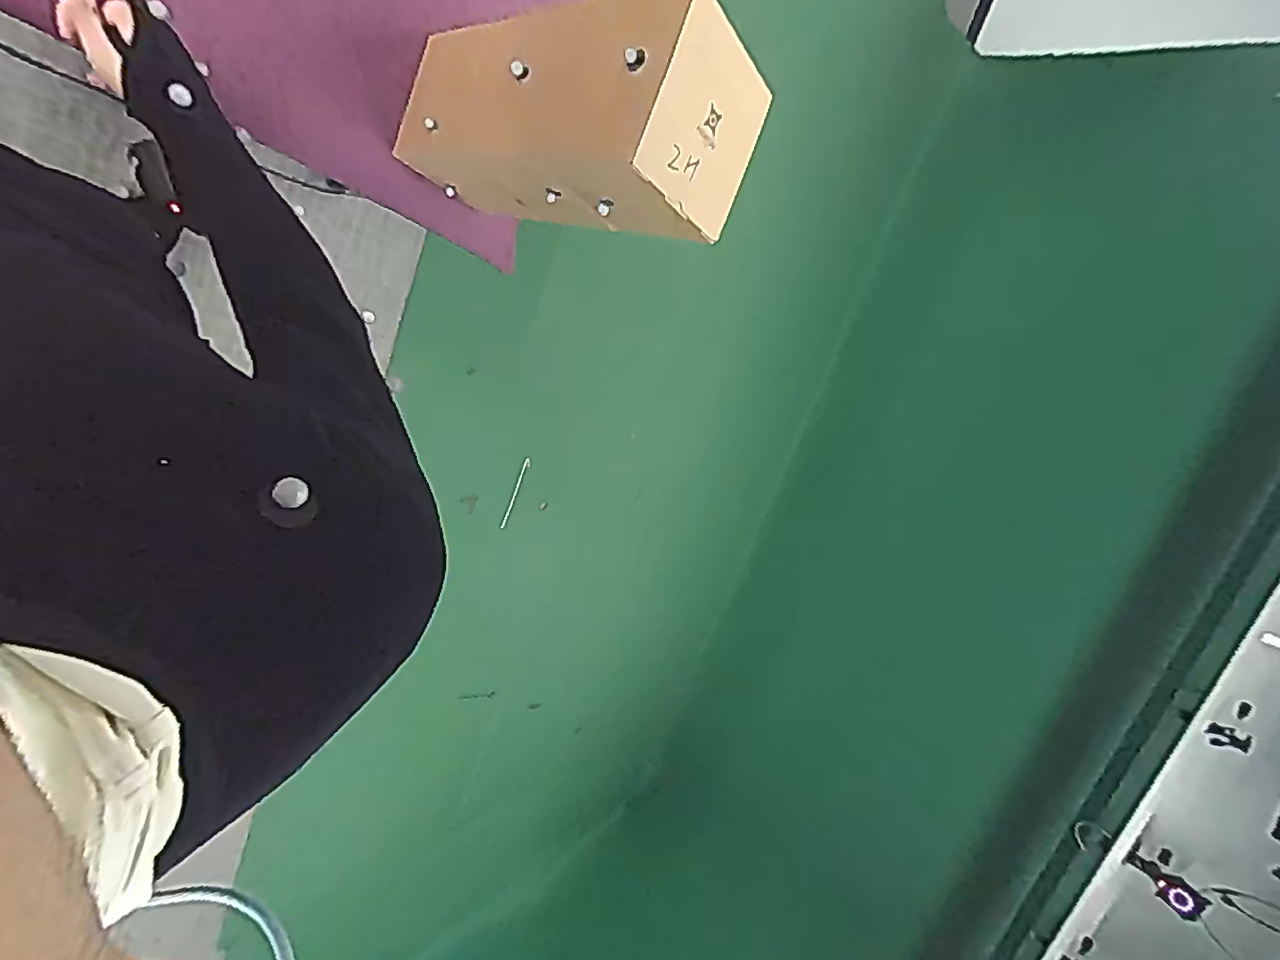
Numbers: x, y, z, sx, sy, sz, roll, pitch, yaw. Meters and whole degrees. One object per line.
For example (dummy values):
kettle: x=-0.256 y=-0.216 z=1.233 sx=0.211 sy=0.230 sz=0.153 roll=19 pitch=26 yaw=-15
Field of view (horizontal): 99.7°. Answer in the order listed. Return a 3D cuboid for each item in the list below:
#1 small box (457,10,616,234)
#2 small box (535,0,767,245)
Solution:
small box: x=-0.111 y=-0.452 z=0.708 sx=0.168 sy=0.176 sz=0.179 roll=13 pitch=101 yaw=-52
small box: x=0.009 y=-0.395 z=0.610 sx=0.168 sy=0.176 sz=0.179 roll=12 pitch=103 yaw=-52
